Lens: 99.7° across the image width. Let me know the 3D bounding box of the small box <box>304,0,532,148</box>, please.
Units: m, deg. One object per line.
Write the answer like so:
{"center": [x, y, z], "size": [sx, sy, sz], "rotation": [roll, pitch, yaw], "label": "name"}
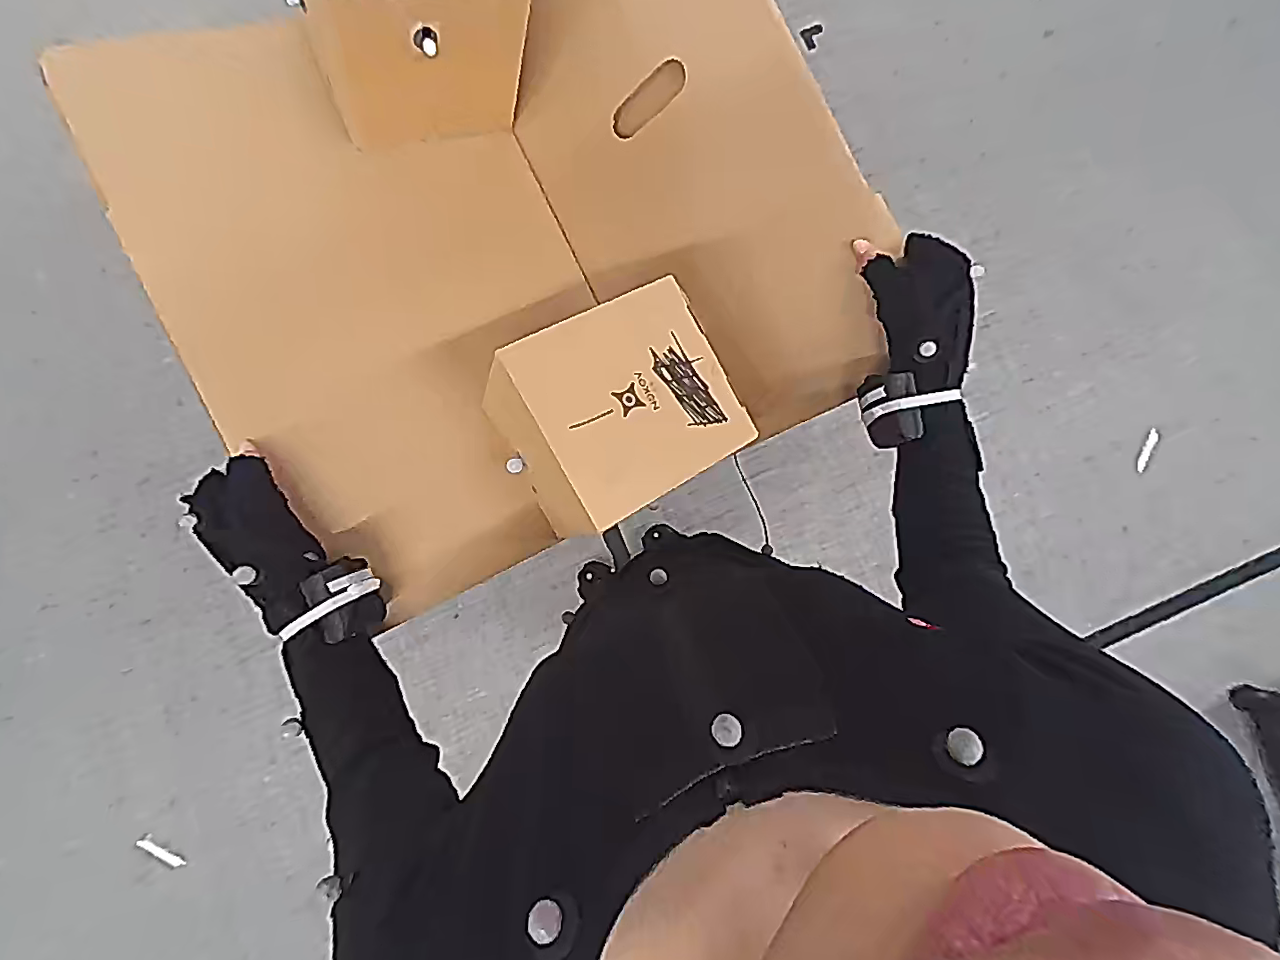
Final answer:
{"center": [-0.222, -0.457, 0.524], "size": [0.179, 0.176, 0.168], "rotation": [-22, 89, -22], "label": "small box"}
